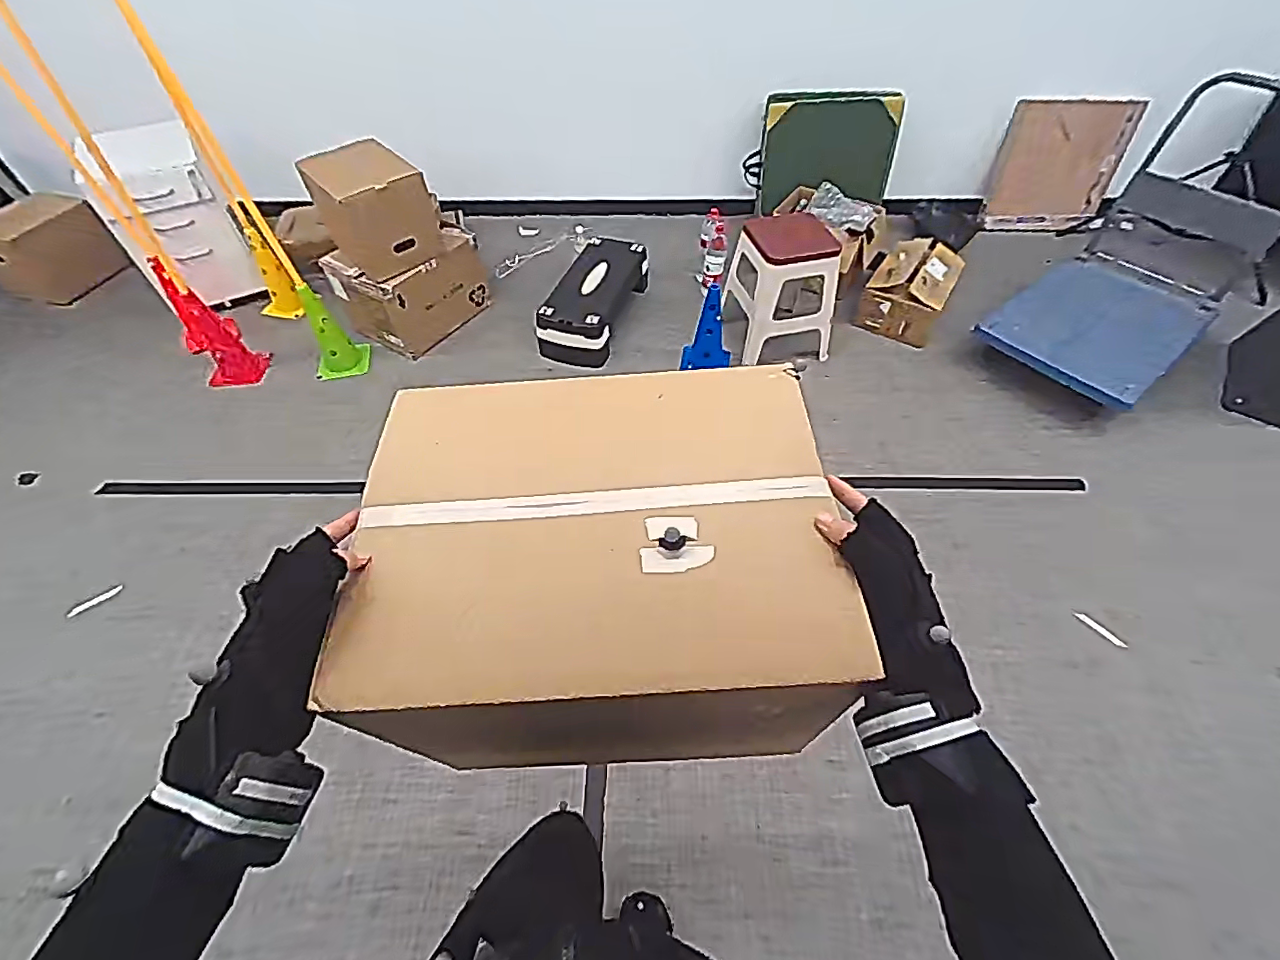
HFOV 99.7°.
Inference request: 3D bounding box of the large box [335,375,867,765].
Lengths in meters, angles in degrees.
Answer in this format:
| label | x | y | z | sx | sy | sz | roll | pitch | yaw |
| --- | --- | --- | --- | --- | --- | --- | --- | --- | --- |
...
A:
| label | x | y | z | sx | sy | sz | roll | pitch | yaw |
| --- | --- | --- | --- | --- | --- | --- | --- | --- | --- |
| large box | -0.030 | 0.112 | 0.602 | 0.408 | 0.320 | 0.320 | -3 | 55 | 1 |
